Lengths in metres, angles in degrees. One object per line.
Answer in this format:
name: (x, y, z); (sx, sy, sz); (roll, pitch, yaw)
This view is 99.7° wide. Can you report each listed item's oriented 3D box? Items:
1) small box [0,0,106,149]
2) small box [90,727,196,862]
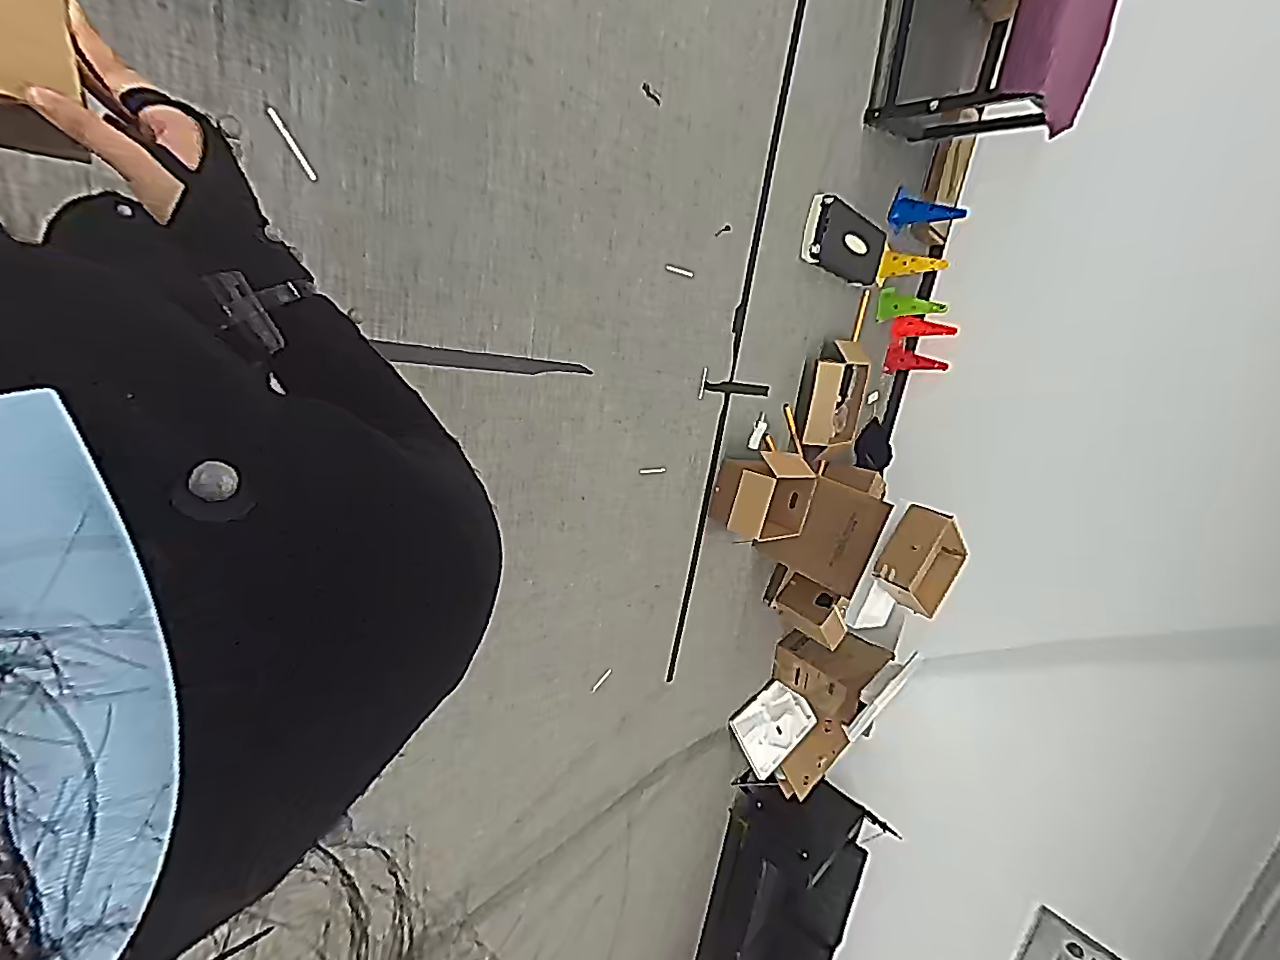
small box: (-0.455, -0.333, 0.328); (0.168, 0.176, 0.179); (-10, 110, -43)
small box: (-1.158, 0.722, 1.263); (0.168, 0.176, 0.179); (-8, 113, -44)
